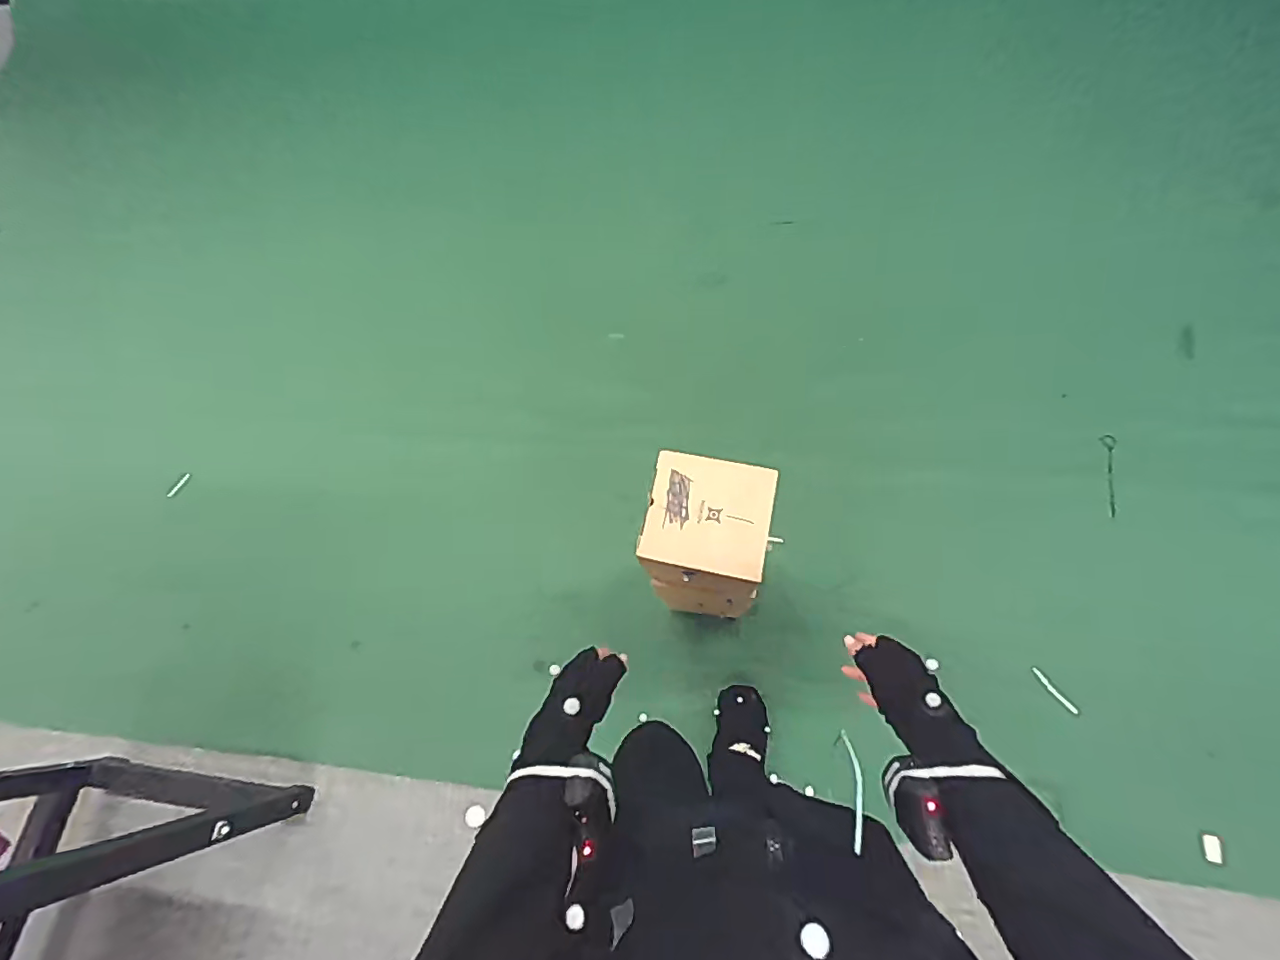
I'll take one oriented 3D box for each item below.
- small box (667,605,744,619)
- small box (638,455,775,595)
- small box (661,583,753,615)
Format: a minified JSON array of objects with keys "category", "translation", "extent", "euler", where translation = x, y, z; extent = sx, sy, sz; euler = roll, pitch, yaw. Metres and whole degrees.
[{"category":"small box","translation":[0.161,0.236,1.297],"extent":[0.179,0.176,0.168],"euler":[6,71,7]},{"category":"small box","translation":[0.105,0.076,0.836],"extent":[0.179,0.176,0.168],"euler":[7,71,10]},{"category":"small box","translation":[0.146,0.188,1.142],"extent":[0.179,0.176,0.168],"euler":[6,71,8]}]
